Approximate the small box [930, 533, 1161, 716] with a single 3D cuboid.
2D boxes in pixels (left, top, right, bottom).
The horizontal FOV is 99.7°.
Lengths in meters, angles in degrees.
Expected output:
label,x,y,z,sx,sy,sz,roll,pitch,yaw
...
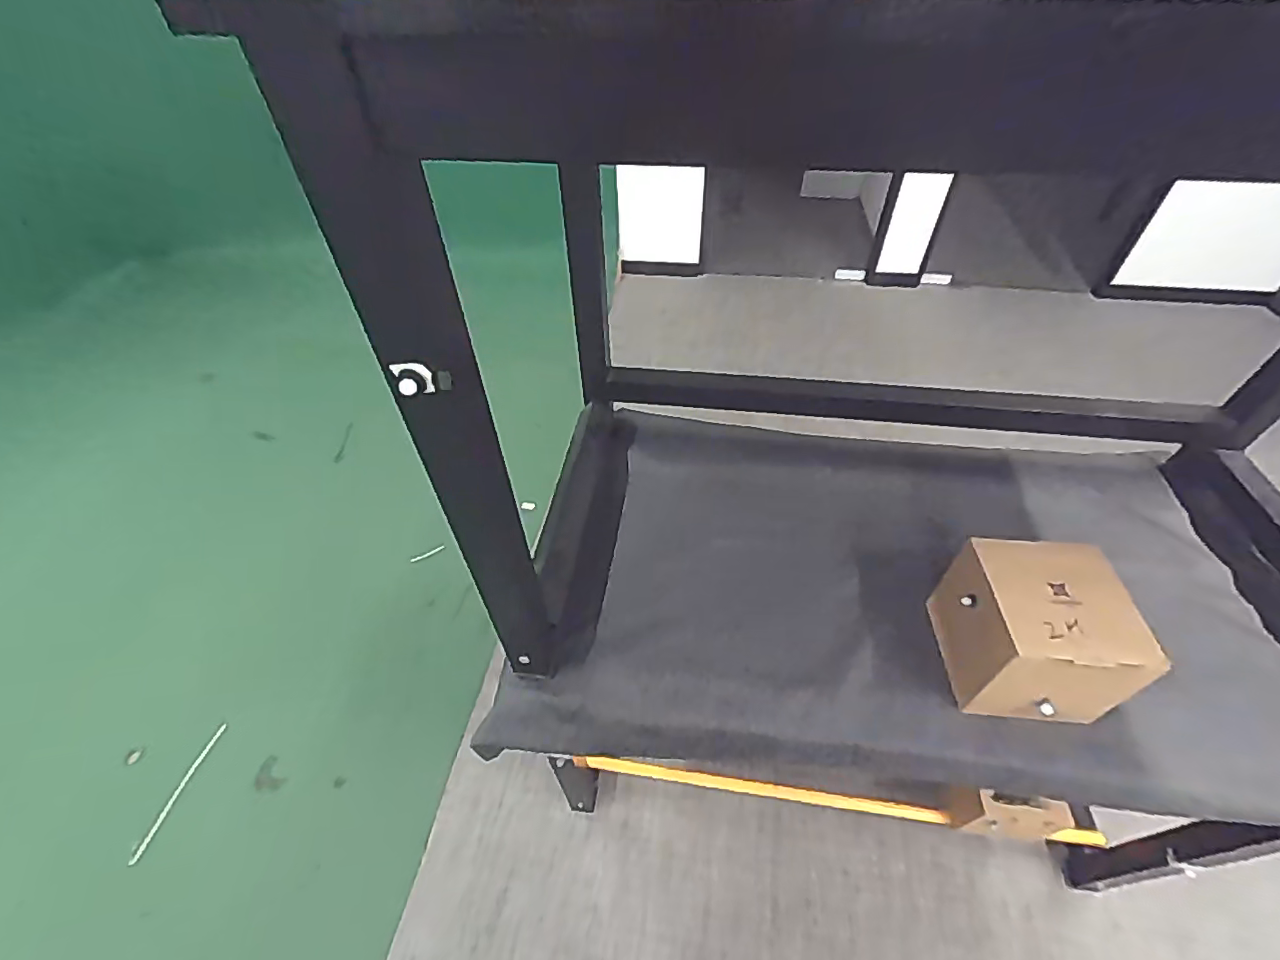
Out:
label,x,y,z,sx,sy,sz,roll,pitch,yaw
small box,0.524,0.196,0.737,0.168,0.176,0.179,3,46,5
